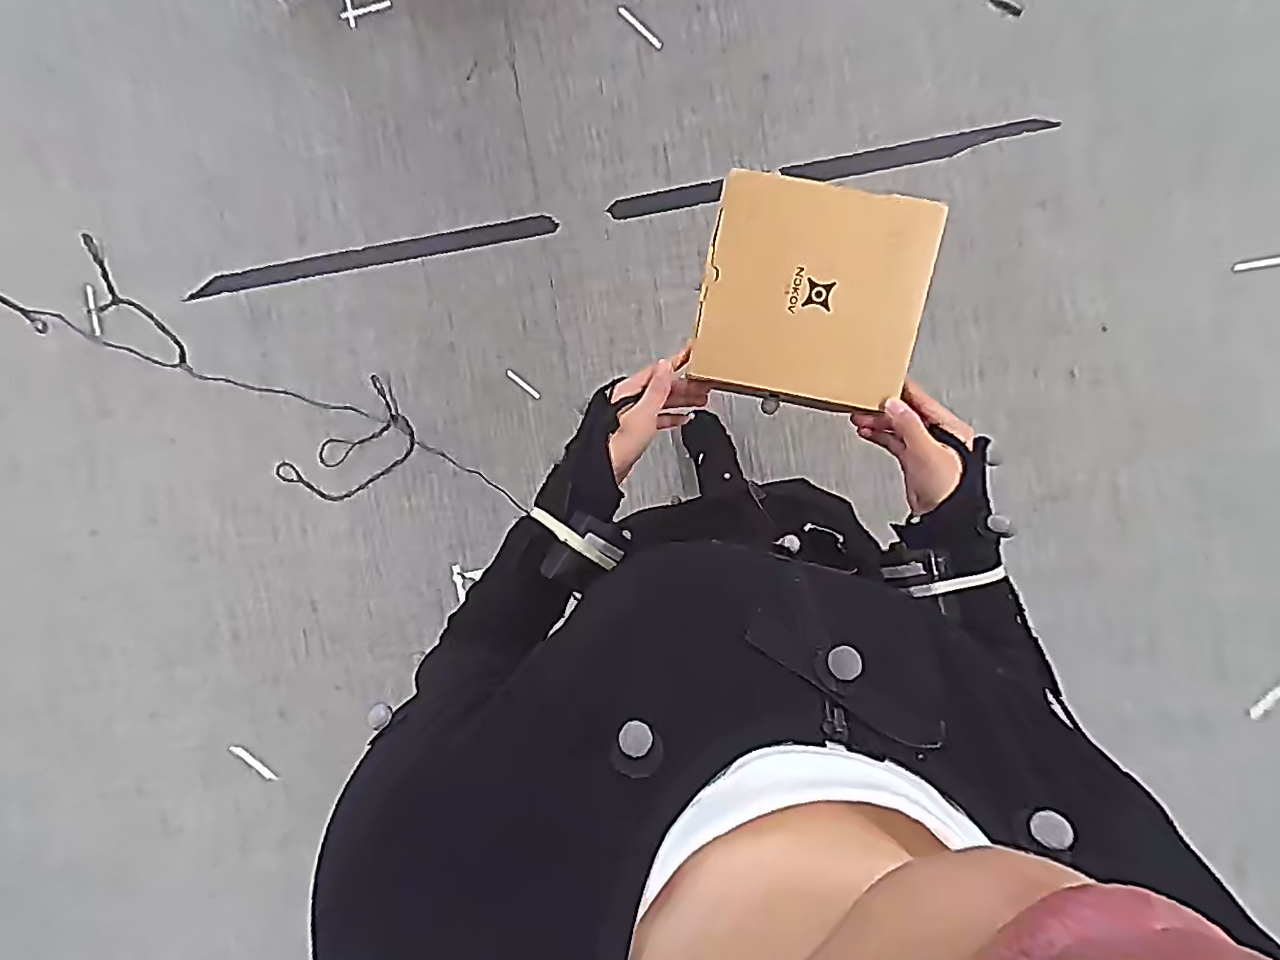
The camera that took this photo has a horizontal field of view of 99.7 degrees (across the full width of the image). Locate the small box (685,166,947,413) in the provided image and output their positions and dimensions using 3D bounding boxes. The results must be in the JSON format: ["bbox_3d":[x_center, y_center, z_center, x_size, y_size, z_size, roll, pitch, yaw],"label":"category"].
[{"bbox_3d":[0.143,-0.160,0.510,0.179,0.176,0.168,11,97,3],"label":"small box"}]
